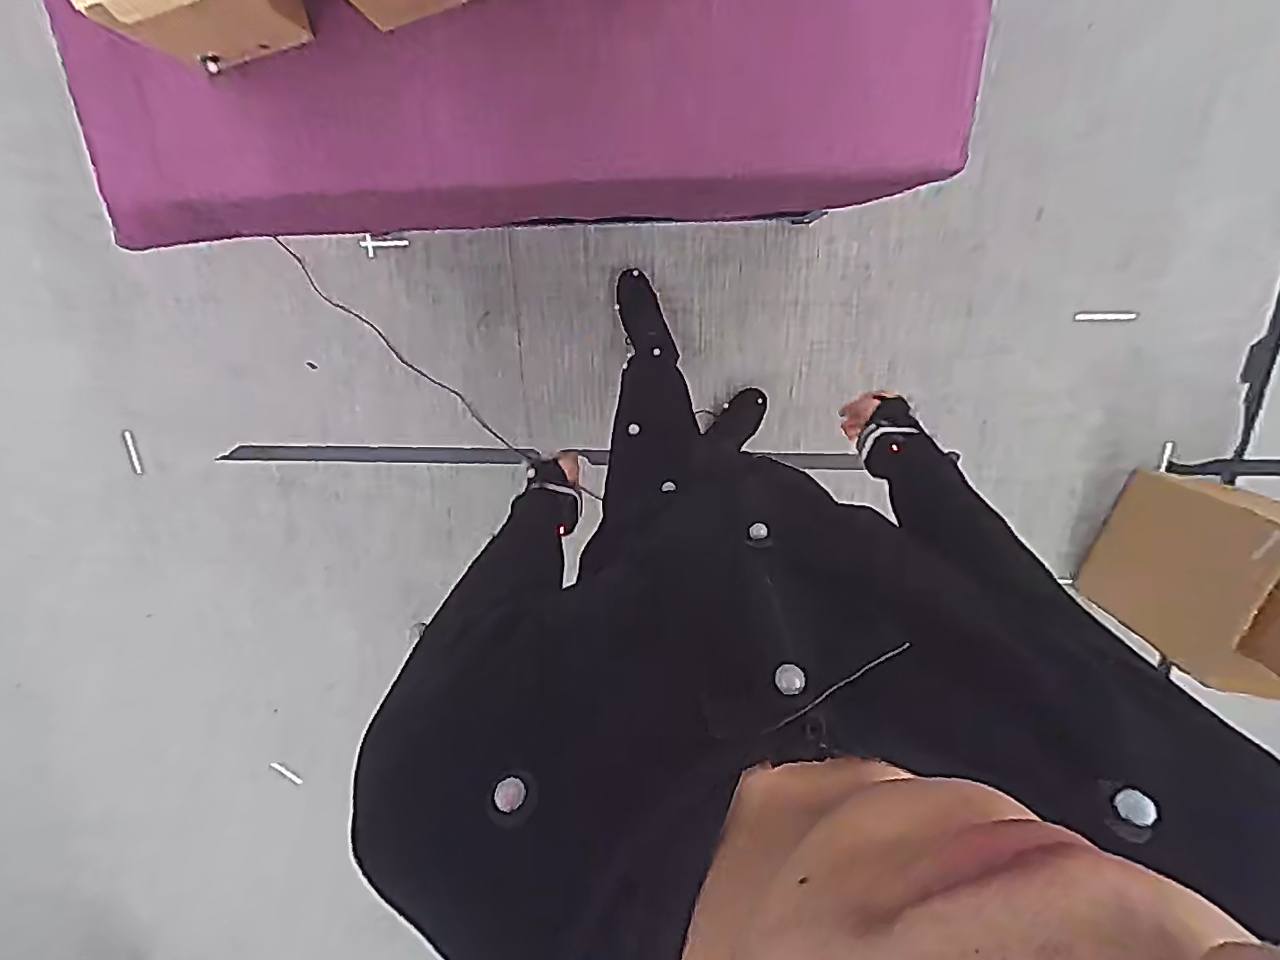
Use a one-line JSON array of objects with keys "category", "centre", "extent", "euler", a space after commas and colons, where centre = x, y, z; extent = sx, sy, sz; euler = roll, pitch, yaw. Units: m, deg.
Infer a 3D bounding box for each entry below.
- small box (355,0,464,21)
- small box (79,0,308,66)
[{"category": "small box", "centre": [-0.282, -0.656, 0.597], "extent": [0.168, 0.176, 0.179], "euler": [-13, 107, 7]}, {"category": "small box", "centre": [-0.529, -0.616, 0.621], "extent": [0.168, 0.176, 0.179], "euler": [-12, 107, 6]}]
